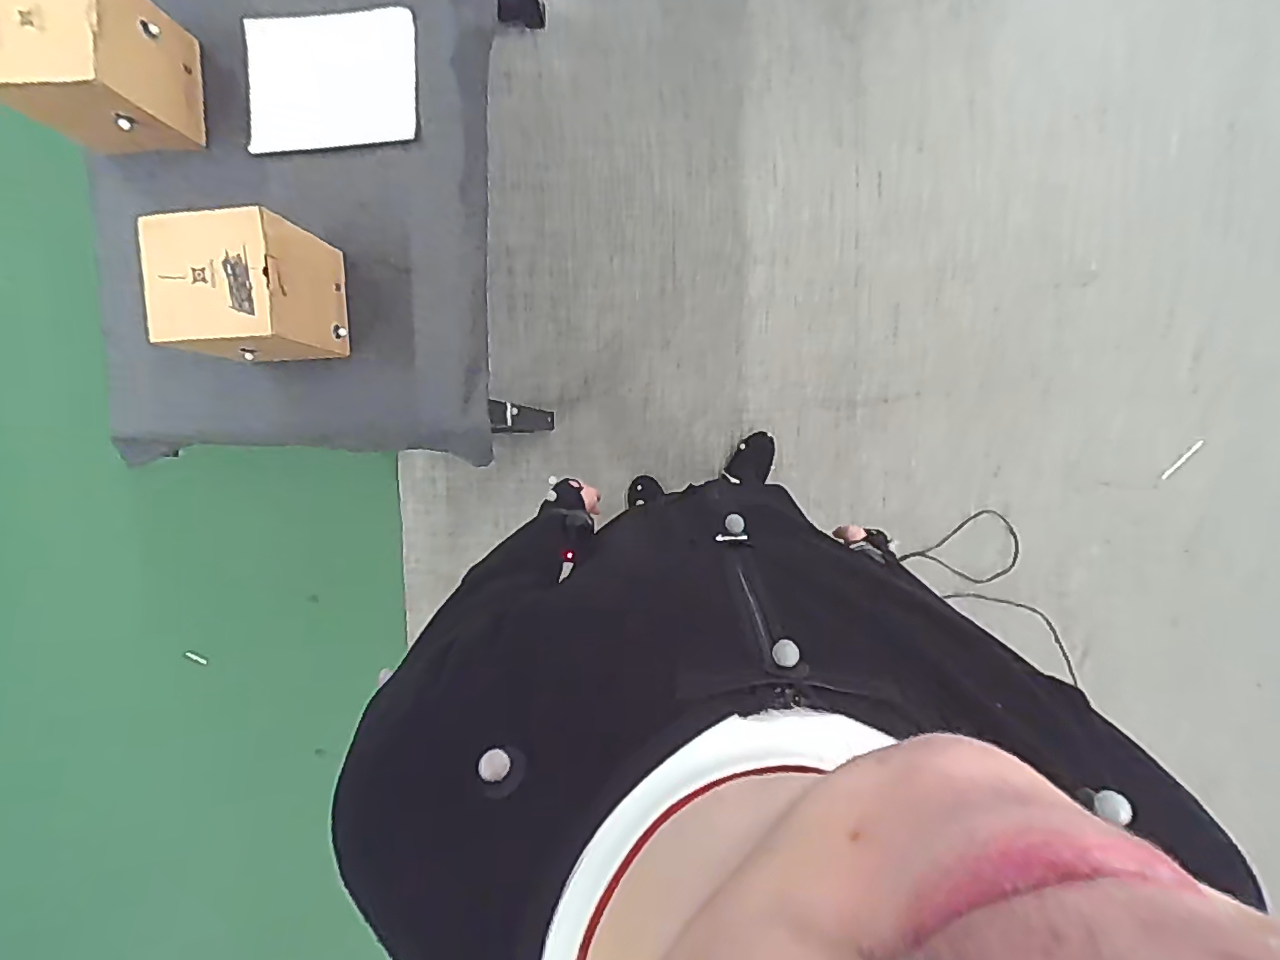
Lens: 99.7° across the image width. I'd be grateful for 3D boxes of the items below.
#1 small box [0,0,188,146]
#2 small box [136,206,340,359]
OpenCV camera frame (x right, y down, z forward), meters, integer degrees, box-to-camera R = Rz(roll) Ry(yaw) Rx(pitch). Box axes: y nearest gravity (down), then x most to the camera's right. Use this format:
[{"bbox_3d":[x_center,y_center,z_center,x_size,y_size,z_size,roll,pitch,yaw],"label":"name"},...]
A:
[{"bbox_3d":[-0.778,-0.598,0.756,0.179,0.176,0.168,-1,93,4],"label":"small box"},{"bbox_3d":[-0.559,-0.273,0.780,0.179,0.176,0.168,-2,93,4],"label":"small box"}]
